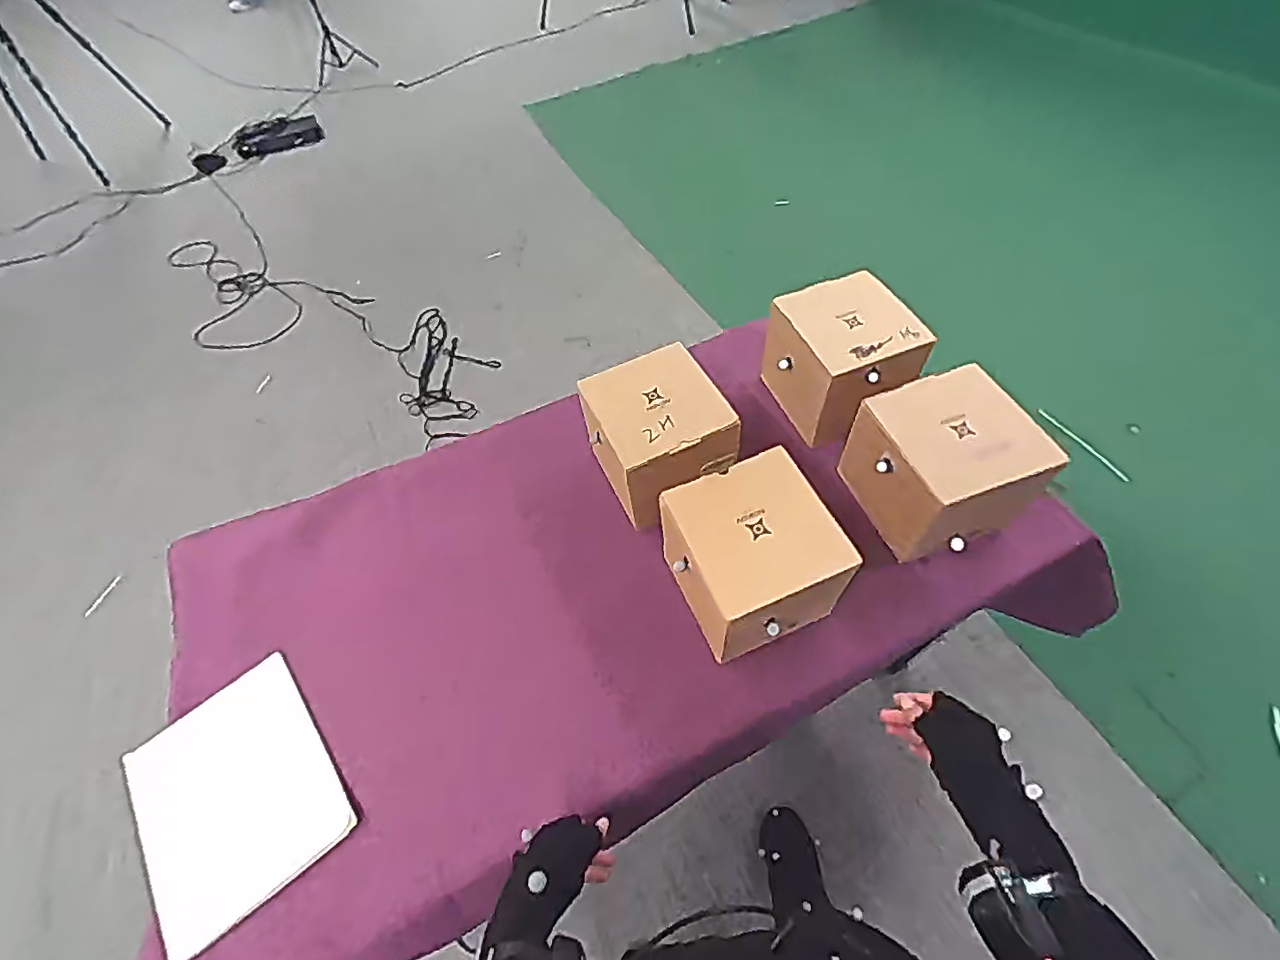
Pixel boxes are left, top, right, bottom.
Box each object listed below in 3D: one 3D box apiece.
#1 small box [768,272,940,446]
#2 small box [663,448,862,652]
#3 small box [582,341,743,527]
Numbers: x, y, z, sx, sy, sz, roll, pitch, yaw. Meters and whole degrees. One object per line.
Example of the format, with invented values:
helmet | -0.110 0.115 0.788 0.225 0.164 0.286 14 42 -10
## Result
small box | 0.313 -0.185 0.839 0.168 0.176 0.179 -19 57 -7
small box | 0.139 0.097 0.673 0.168 0.176 0.179 -21 58 -8
small box | 0.029 -0.063 0.786 0.168 0.176 0.179 -23 59 -10
